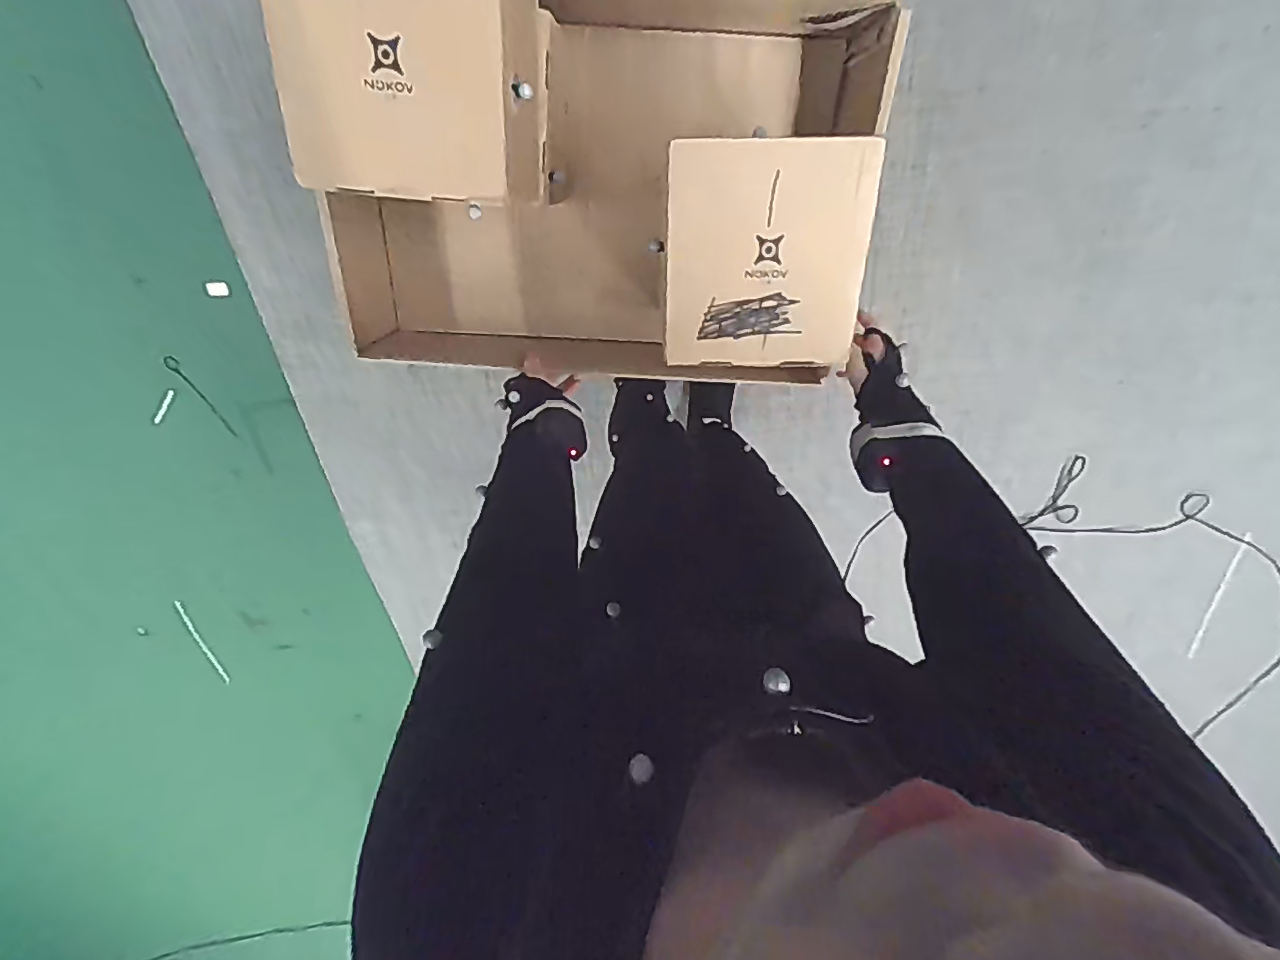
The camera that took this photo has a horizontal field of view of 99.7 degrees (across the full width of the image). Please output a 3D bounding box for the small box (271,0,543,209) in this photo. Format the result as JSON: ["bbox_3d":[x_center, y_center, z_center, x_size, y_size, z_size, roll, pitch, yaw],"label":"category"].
[{"bbox_3d":[-0.176,-0.339,0.461,0.168,0.176,0.179,4,118,-3],"label":"small box"}]

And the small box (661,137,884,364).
[{"bbox_3d":[0.106,-0.219,0.520,0.168,0.176,0.179,0,117,1],"label":"small box"}]
